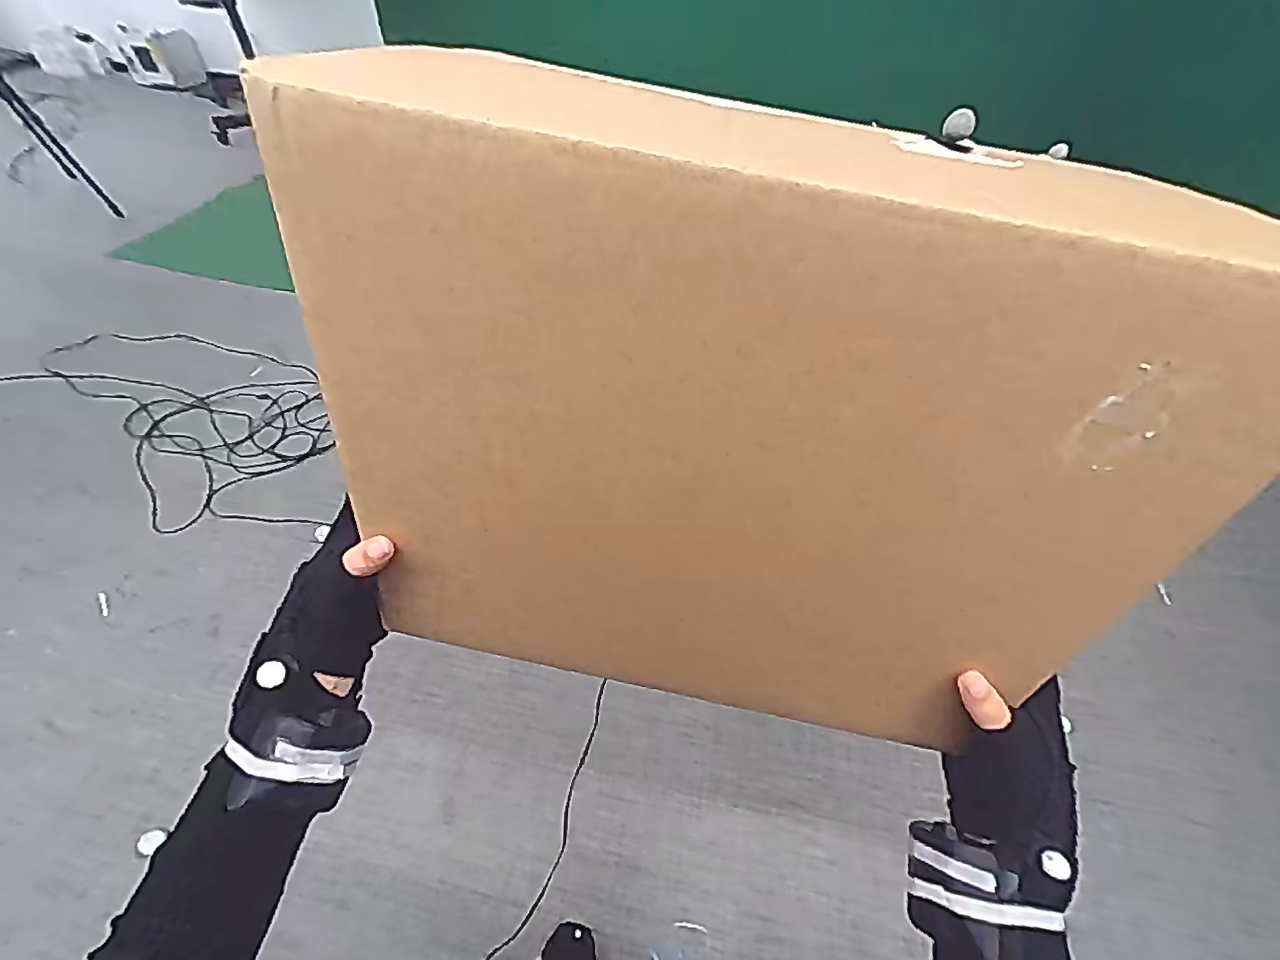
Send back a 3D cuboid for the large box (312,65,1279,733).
[{"bbox_3d":[0.070,-0.067,0.395,0.408,0.320,0.320,12,39,0],"label":"large box"}]
